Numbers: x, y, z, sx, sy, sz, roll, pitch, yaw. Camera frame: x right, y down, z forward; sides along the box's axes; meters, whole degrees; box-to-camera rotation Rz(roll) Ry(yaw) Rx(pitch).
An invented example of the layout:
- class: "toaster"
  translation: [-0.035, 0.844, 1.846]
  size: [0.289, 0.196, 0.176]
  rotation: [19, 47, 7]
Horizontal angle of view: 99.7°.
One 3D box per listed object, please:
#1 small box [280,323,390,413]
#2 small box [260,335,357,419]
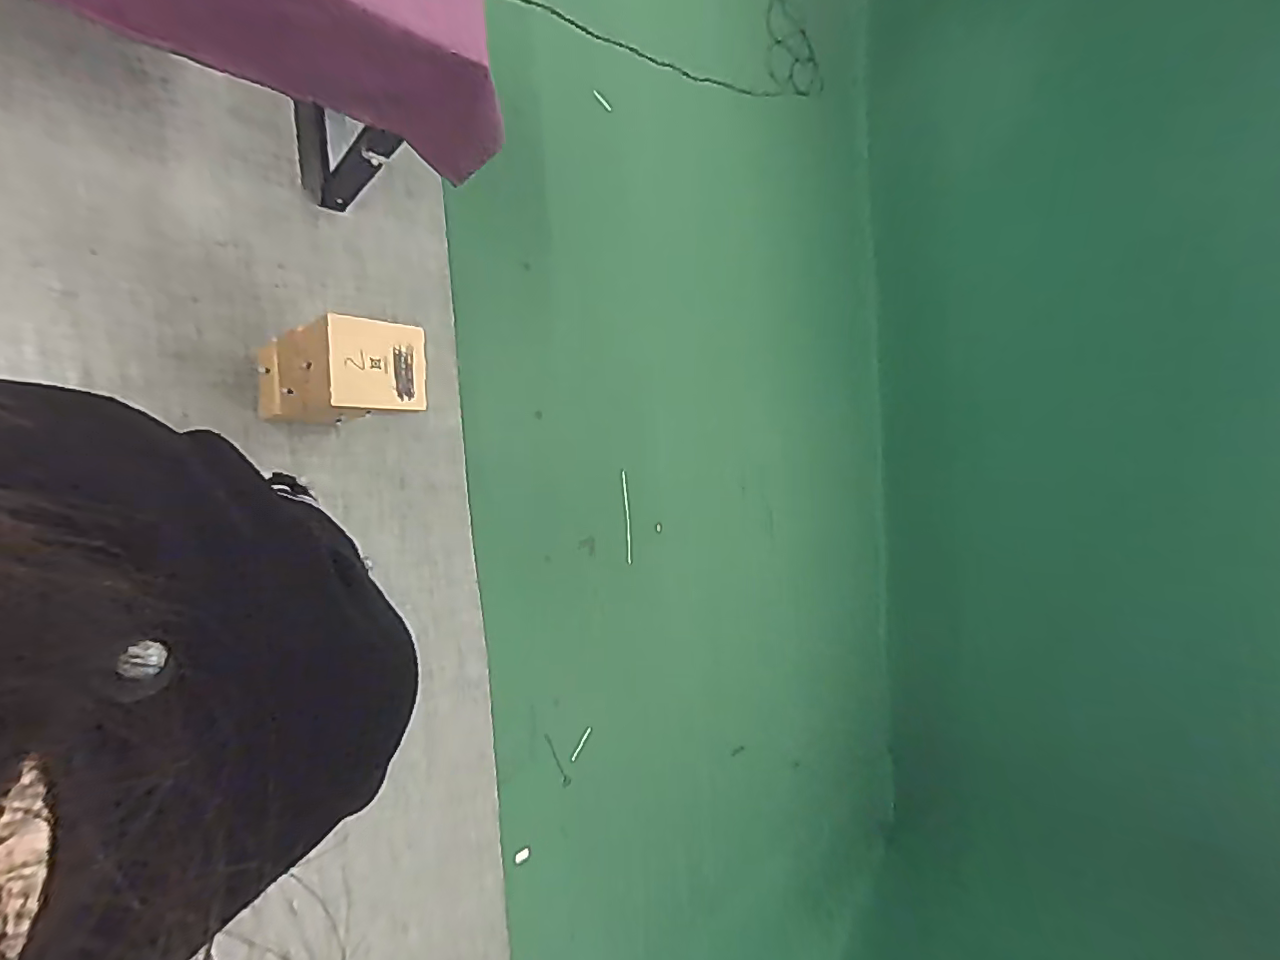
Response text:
- class: "small box"
  translation: [-0.671, -0.236, 1.184]
  size: [0.179, 0.176, 0.168]
  rotation: [-6, 95, -46]
- class: "small box"
  translation: [-0.792, -0.236, 1.292]
  size: [0.179, 0.176, 0.168]
  rotation: [-2, 91, -46]
